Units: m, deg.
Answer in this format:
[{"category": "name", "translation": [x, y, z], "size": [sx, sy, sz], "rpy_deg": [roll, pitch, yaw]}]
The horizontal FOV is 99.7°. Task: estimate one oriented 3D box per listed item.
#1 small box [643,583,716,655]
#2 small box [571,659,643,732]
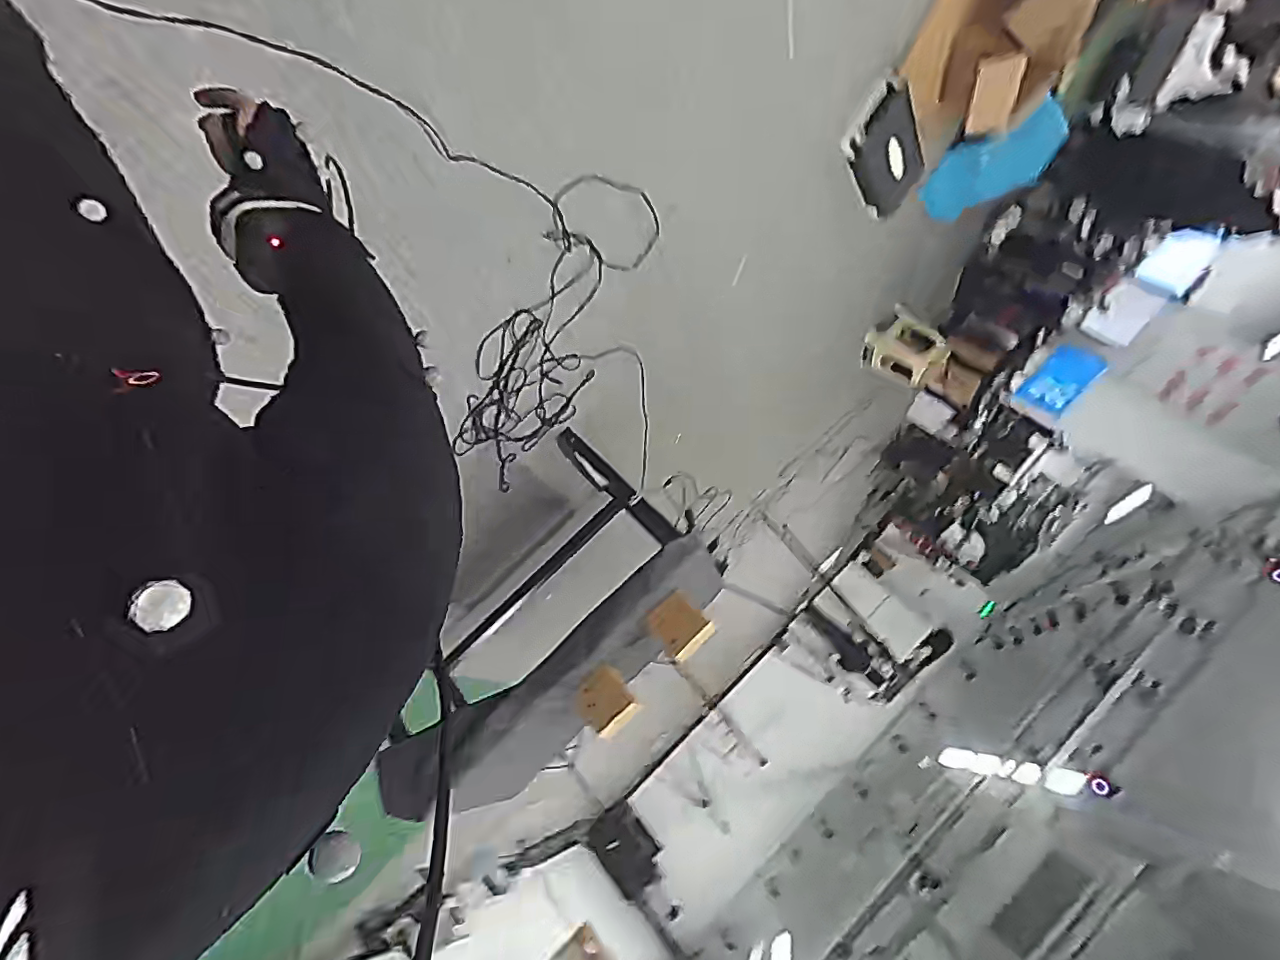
[{"category": "small box", "translation": [0.140, 0.490, 1.911], "size": [0.179, 0.176, 0.168], "rpy_deg": [-44, 153, -4]}, {"category": "small box", "translation": [-0.116, 0.753, 1.896], "size": [0.168, 0.176, 0.179], "rpy_deg": [-41, 154, -9]}]
